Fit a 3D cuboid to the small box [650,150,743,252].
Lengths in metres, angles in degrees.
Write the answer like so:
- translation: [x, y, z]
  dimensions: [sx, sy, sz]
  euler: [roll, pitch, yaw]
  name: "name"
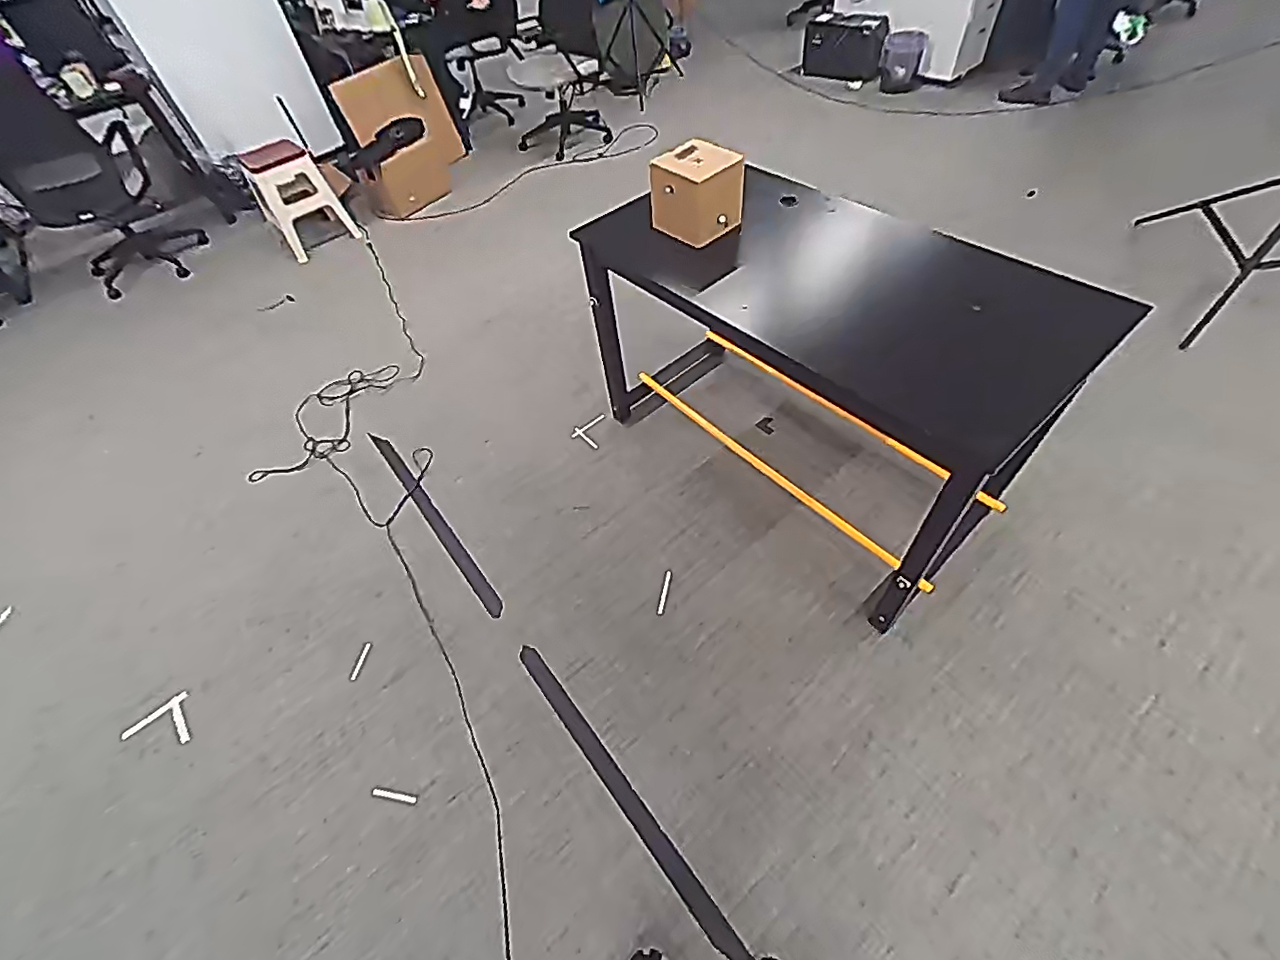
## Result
- translation: [0.145, -0.724, 1.408]
  dimensions: [0.168, 0.176, 0.179]
  euler: [-38, 58, -21]
  name: "small box"
